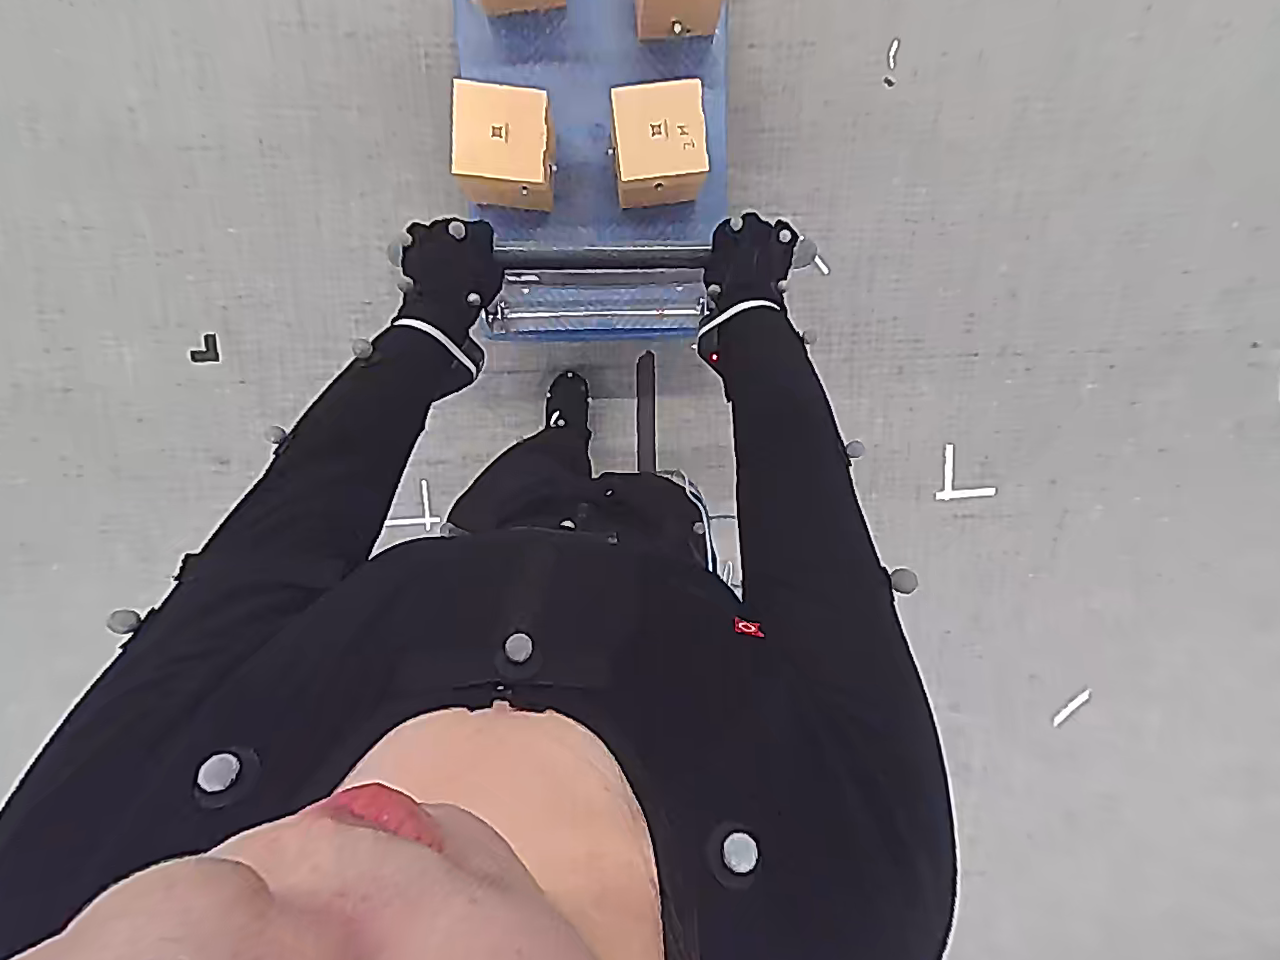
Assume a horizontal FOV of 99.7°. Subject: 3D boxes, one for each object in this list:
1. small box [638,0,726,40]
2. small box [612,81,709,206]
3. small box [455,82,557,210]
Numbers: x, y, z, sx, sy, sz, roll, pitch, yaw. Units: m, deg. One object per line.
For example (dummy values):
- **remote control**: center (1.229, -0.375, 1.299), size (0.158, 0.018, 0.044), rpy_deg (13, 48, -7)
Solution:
- **small box**: center (0.079, -1.015, 1.062), size (0.168, 0.176, 0.179), rpy_deg (-6, 102, -2)
- **small box**: center (0.039, -0.684, 1.120), size (0.179, 0.176, 0.168), rpy_deg (-7, 101, -2)
- **small box**: center (-0.267, -0.671, 1.106), size (0.179, 0.176, 0.168), rpy_deg (3, 99, -6)
